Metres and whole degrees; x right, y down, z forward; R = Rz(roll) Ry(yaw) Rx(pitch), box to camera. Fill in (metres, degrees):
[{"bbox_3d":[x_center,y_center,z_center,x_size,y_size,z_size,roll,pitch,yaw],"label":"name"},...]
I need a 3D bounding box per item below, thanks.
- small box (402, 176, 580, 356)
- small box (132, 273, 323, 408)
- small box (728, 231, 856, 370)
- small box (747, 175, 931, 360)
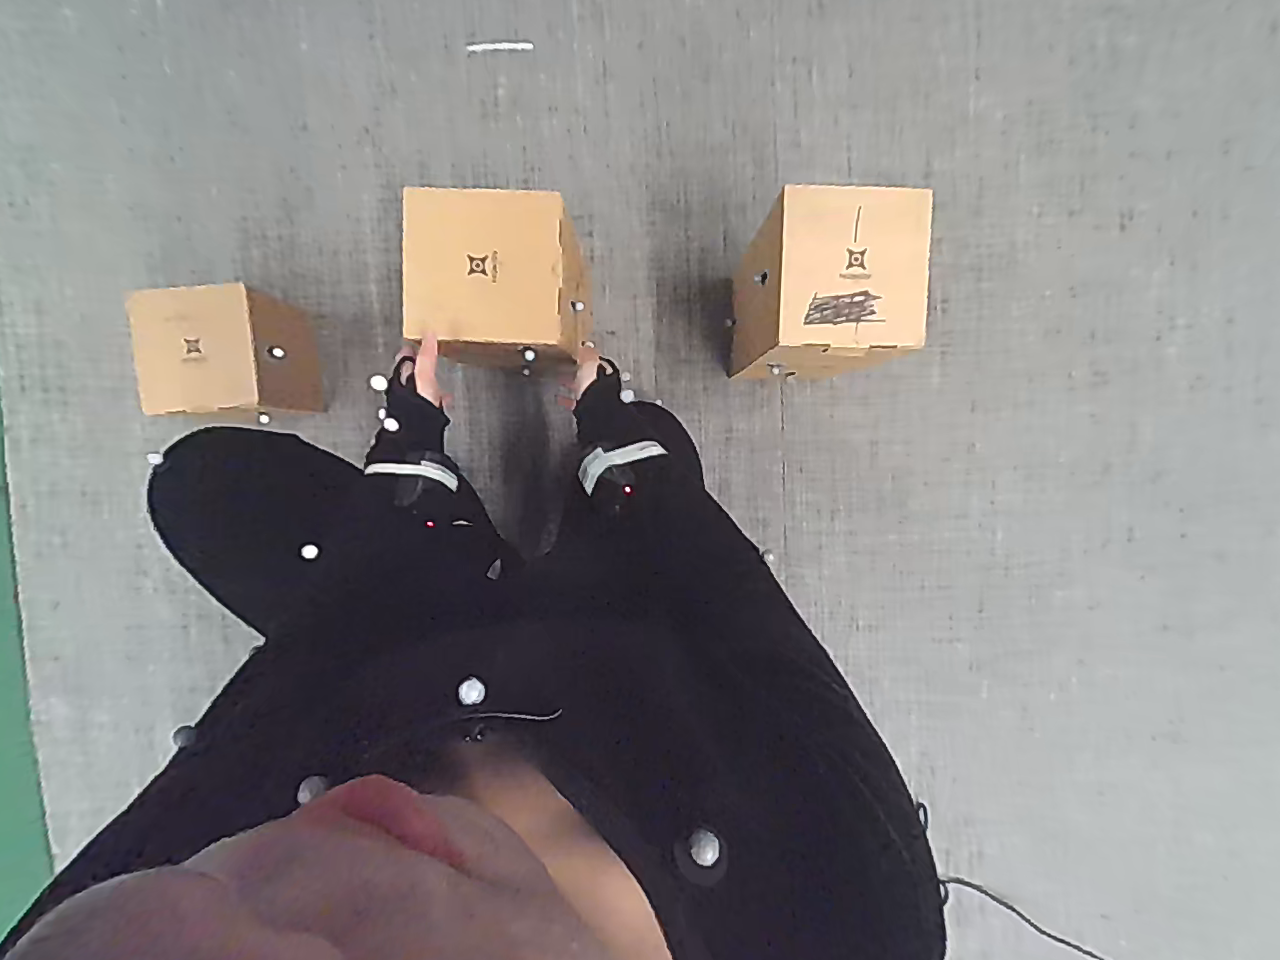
[{"bbox_3d":[-0.173,-0.252,0.673,0.179,0.176,0.168,2,94,0],"label":"small box"},{"bbox_3d":[-0.622,-0.204,0.839,0.168,0.176,0.179,-4,94,-1],"label":"small box"},{"bbox_3d":[0.233,-0.266,0.838,0.168,0.176,0.179,1,95,-1],"label":"small box"},{"bbox_3d":[0.232,-0.248,0.674,0.168,0.176,0.179,2,93,-1],"label":"small box"}]
